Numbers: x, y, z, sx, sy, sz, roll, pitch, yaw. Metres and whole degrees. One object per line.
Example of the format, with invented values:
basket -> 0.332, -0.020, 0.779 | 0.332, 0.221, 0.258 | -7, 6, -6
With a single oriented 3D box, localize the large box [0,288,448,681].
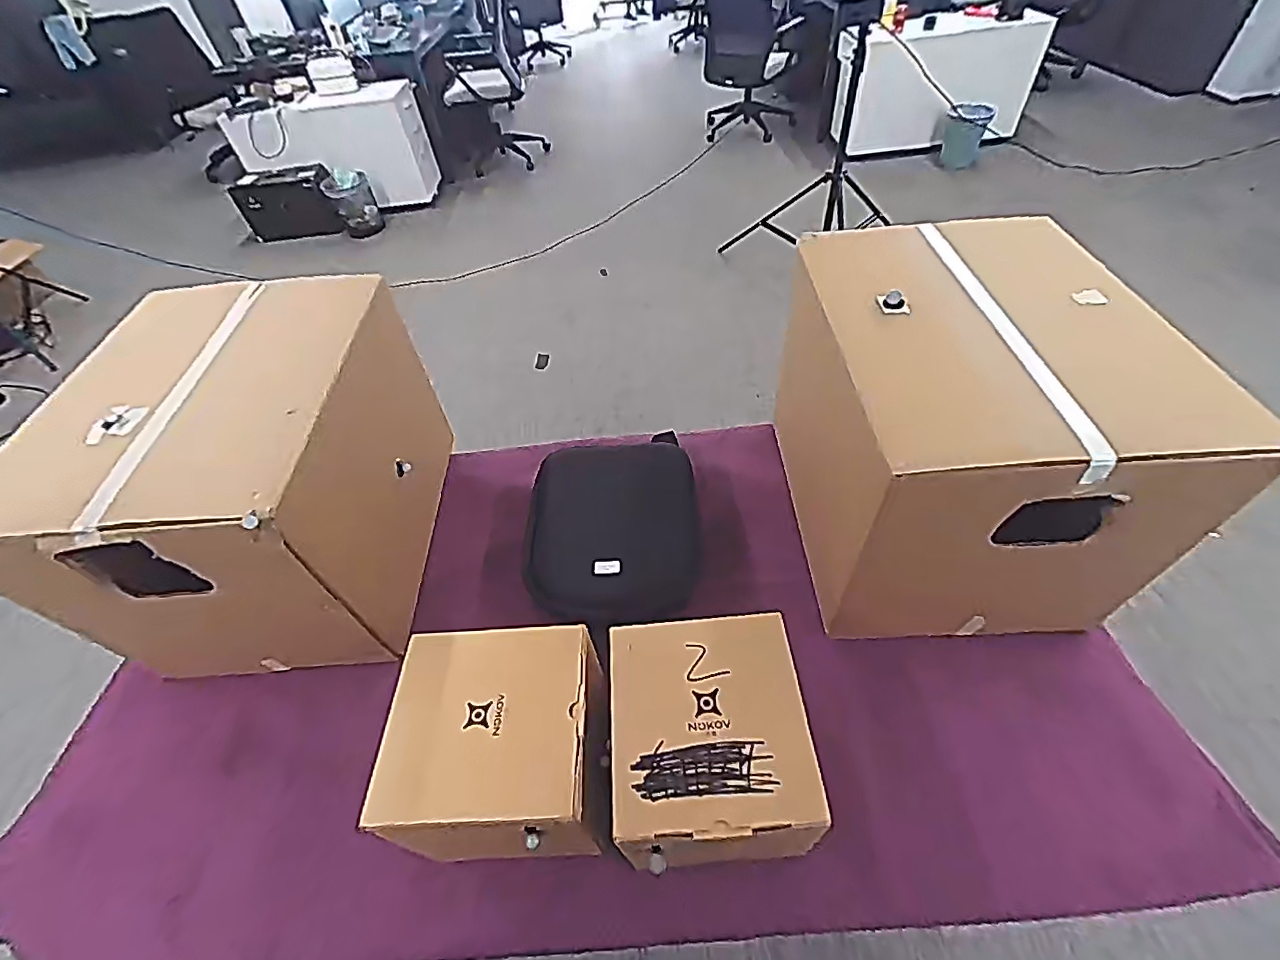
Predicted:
large box -> -0.471, 0.002, 0.709 | 0.320, 0.320, 0.408 | -6, 51, 0
